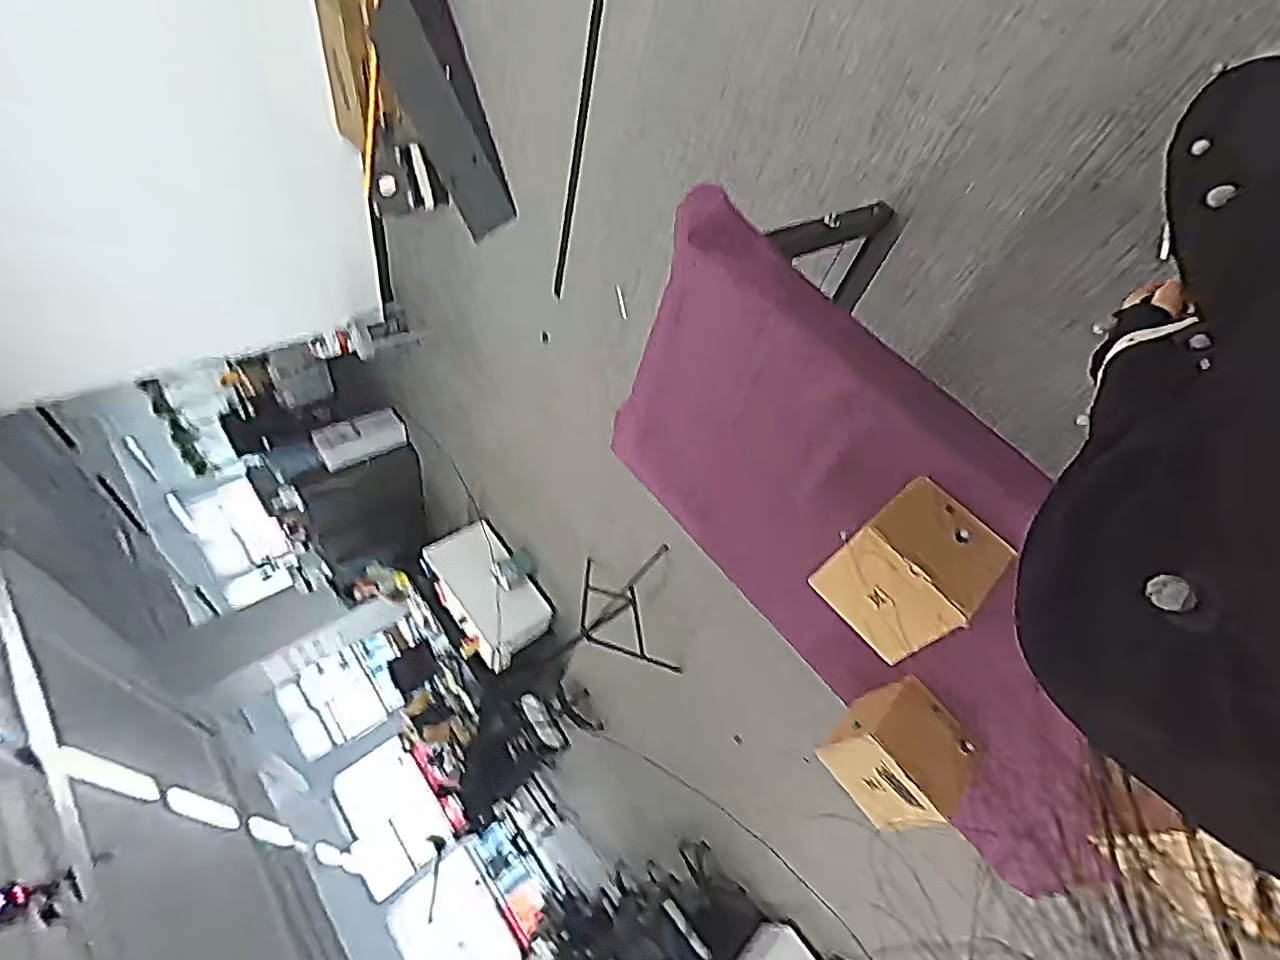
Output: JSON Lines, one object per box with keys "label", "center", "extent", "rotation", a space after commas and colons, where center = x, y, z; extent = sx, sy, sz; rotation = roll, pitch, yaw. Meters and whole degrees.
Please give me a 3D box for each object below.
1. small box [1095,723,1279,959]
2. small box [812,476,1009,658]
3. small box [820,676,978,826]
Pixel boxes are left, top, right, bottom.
{"label": "small box", "center": [0.694, 0.413, 0.626], "extent": [0.168, 0.176, 0.179], "rotation": [49, 145, 19]}
{"label": "small box", "center": [0.402, 0.127, 0.811], "extent": [0.168, 0.176, 0.179], "rotation": [47, 145, 21]}
{"label": "small box", "center": [0.472, 0.487, 0.979], "extent": [0.168, 0.176, 0.179], "rotation": [49, 144, 18]}
